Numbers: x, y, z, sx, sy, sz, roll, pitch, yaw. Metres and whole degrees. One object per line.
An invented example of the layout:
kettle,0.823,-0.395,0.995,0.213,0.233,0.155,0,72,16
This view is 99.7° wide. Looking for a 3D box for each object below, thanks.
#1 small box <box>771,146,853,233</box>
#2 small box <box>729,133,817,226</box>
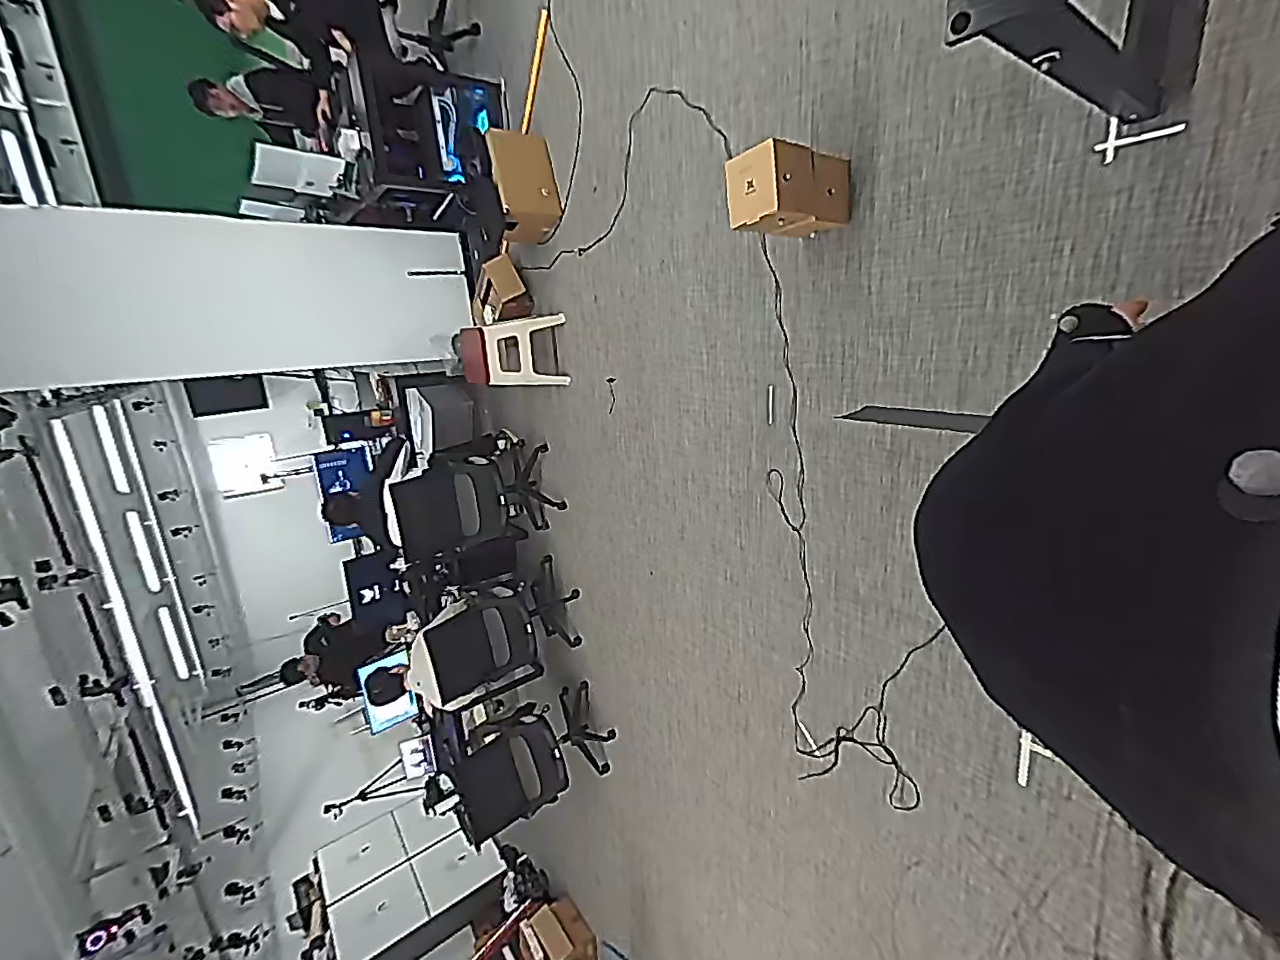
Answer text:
small box,0.494,-0.827,1.556,0.168,0.176,0.179,12,112,52
small box,0.364,-0.800,1.463,0.168,0.176,0.179,7,106,52
